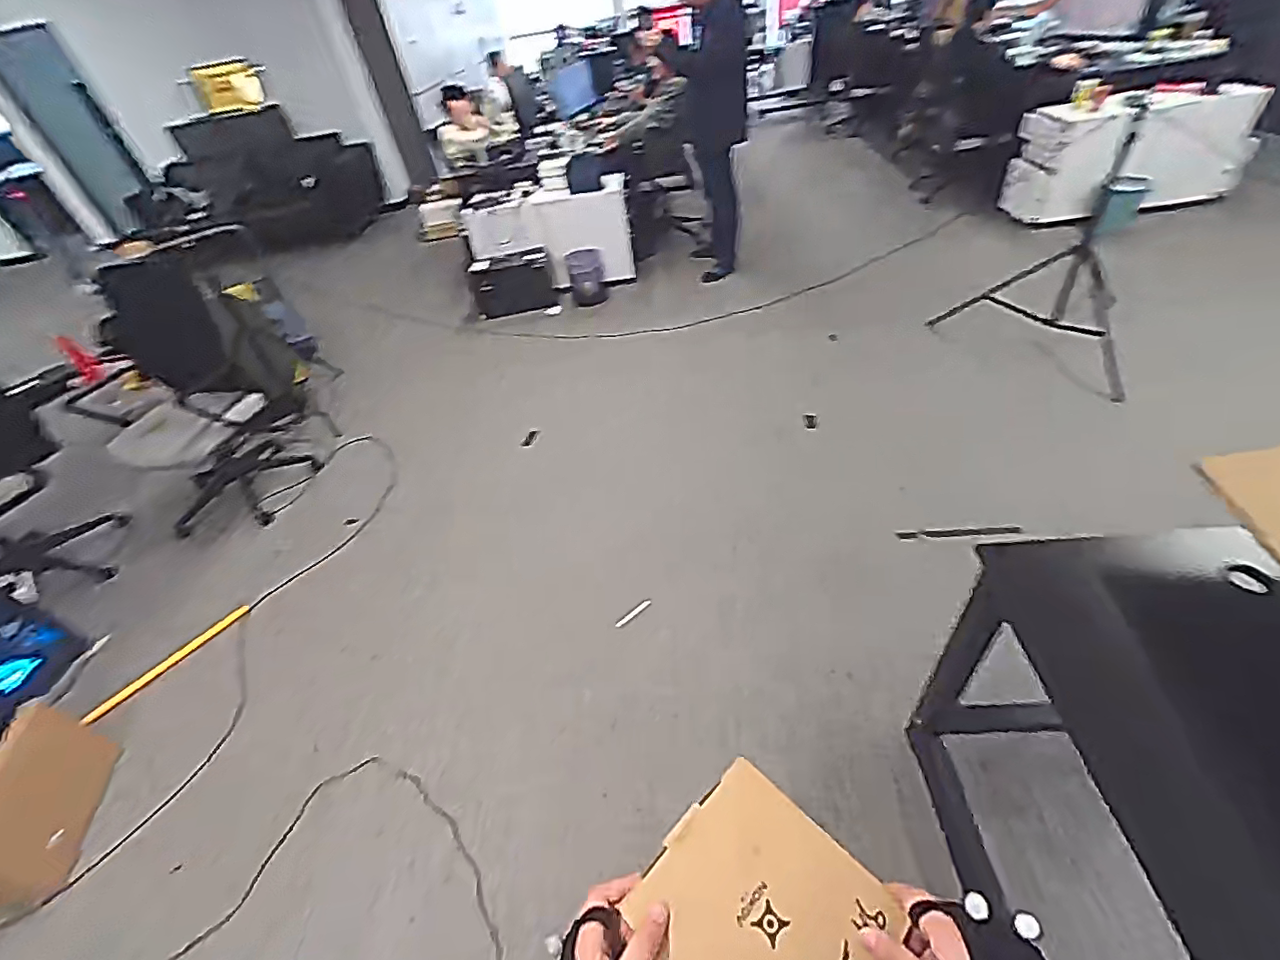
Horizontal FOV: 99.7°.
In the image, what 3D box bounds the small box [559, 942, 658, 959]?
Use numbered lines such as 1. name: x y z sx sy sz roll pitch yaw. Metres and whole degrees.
1. small box: -0.040 0.919 0.914 0.168 0.176 0.179 -10 40 -1
